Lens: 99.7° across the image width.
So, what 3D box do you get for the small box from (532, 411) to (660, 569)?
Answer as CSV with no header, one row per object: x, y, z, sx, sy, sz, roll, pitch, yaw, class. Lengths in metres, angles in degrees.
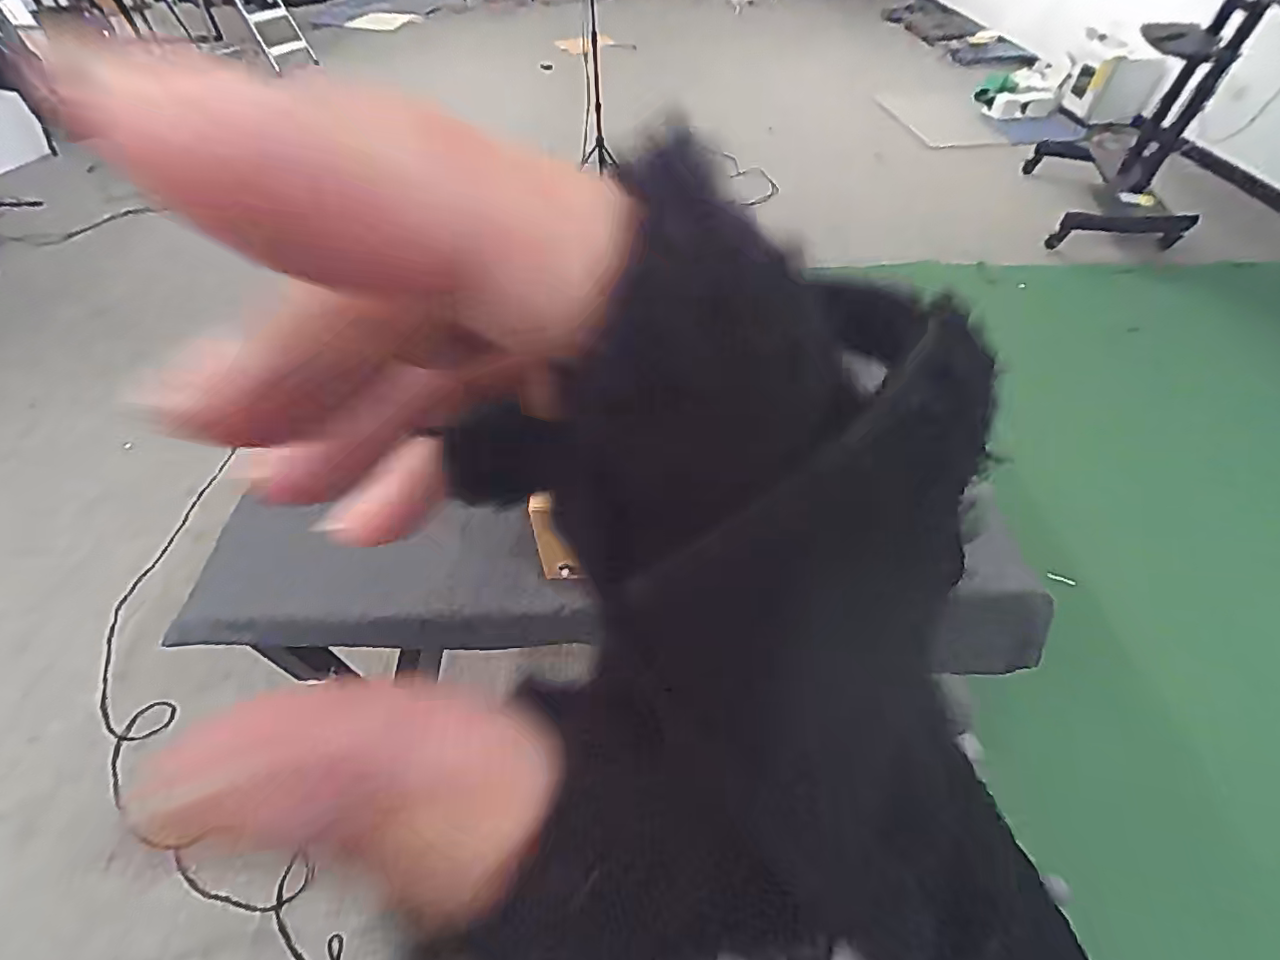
-0.054,0.019,0.793,0.168,0.176,0.179,0,49,0,small box
